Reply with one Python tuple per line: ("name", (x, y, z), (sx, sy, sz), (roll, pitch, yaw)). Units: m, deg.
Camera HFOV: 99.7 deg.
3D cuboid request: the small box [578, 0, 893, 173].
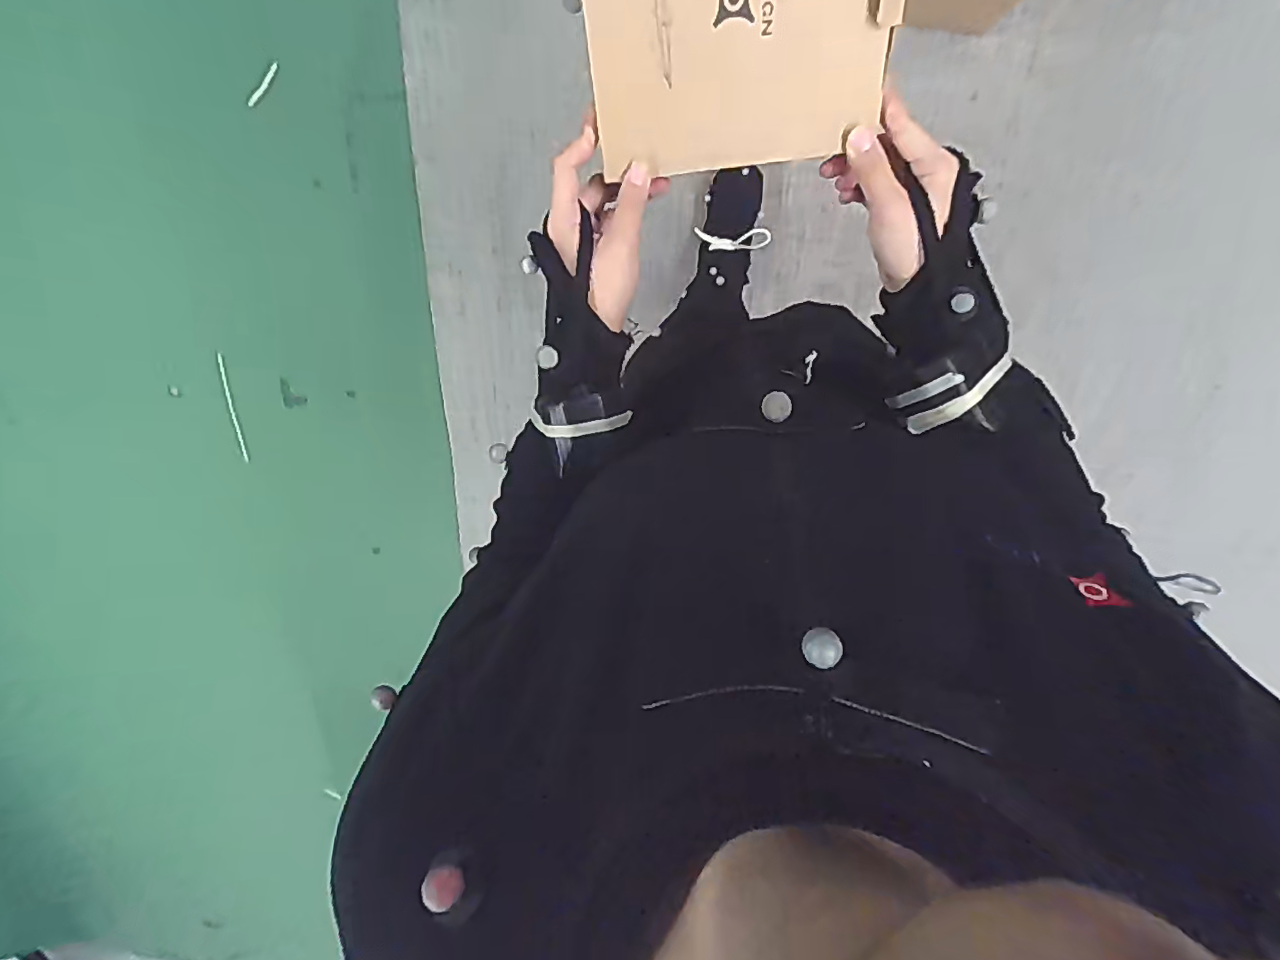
("small box", (0.051, -0.318, 0.354), (0.179, 0.176, 0.168), (-5, 129, 4))
